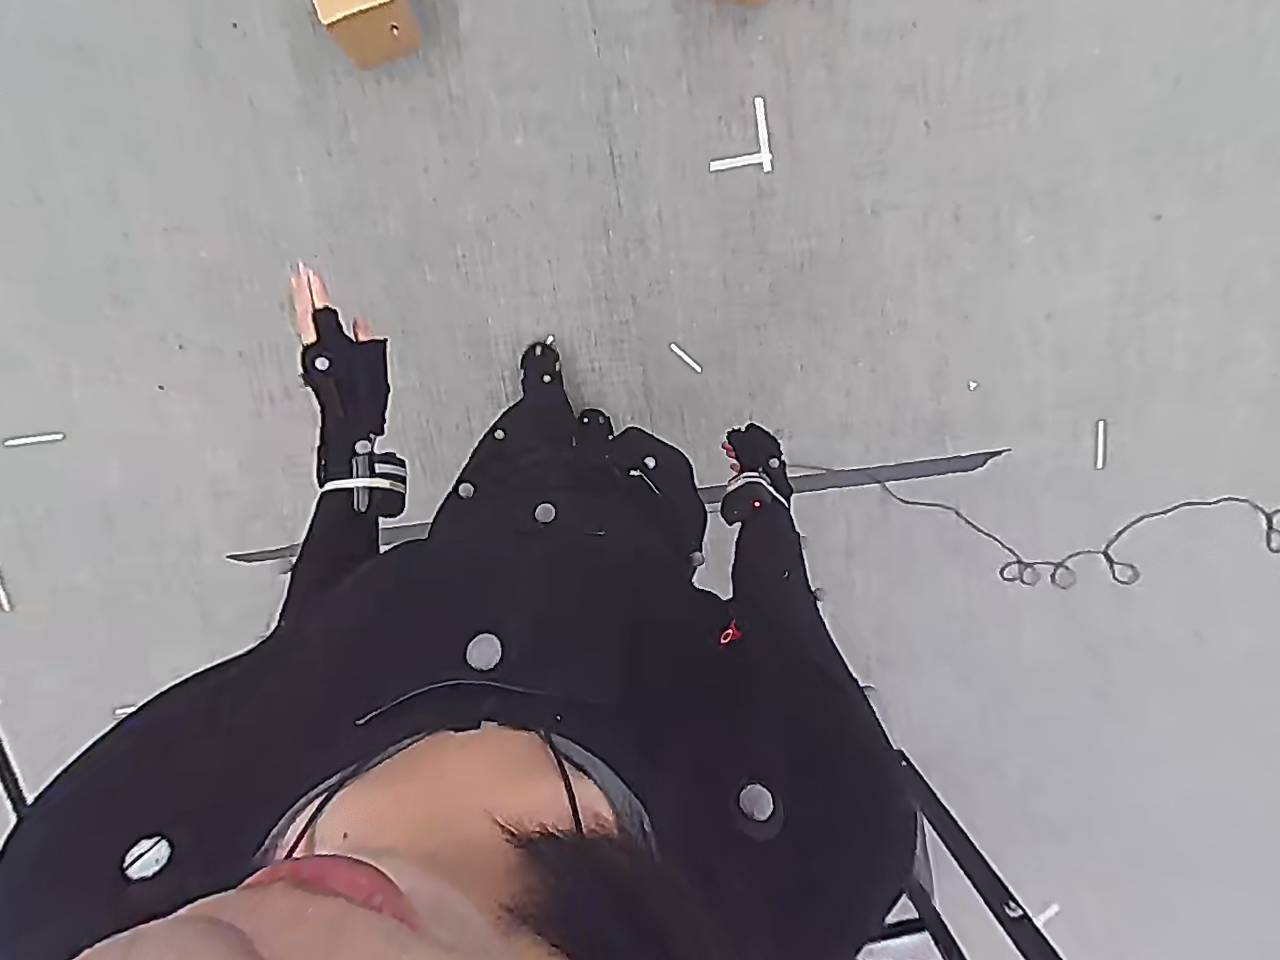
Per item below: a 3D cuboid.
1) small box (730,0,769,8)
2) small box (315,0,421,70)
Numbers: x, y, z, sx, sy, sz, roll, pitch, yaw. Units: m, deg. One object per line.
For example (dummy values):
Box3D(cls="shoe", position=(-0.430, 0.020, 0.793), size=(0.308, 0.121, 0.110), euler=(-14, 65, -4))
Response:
Box3D(cls="small box", position=(0.244, -1.227, 1.225), size=(0.168, 0.176, 0.179), euler=(6, 100, -4))
Box3D(cls="small box", position=(-0.618, -1.080, 1.218), size=(0.179, 0.176, 0.168), euler=(-20, 99, 3))
